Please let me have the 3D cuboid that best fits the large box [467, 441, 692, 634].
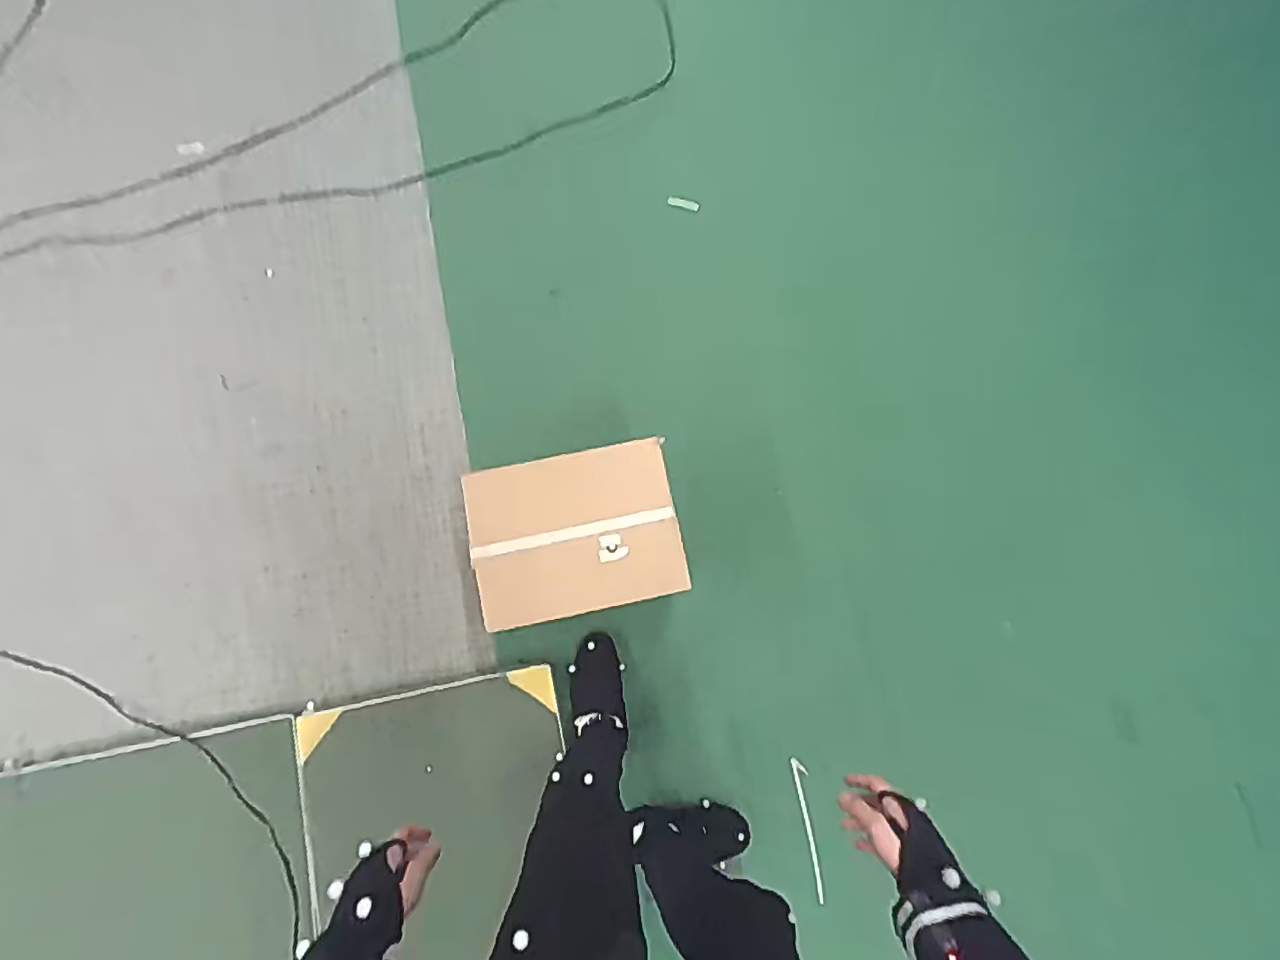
[{"bbox_3d":[-0.129,0.134,1.214,0.408,0.320,0.320,-11,82,-4],"label":"large box"}]
